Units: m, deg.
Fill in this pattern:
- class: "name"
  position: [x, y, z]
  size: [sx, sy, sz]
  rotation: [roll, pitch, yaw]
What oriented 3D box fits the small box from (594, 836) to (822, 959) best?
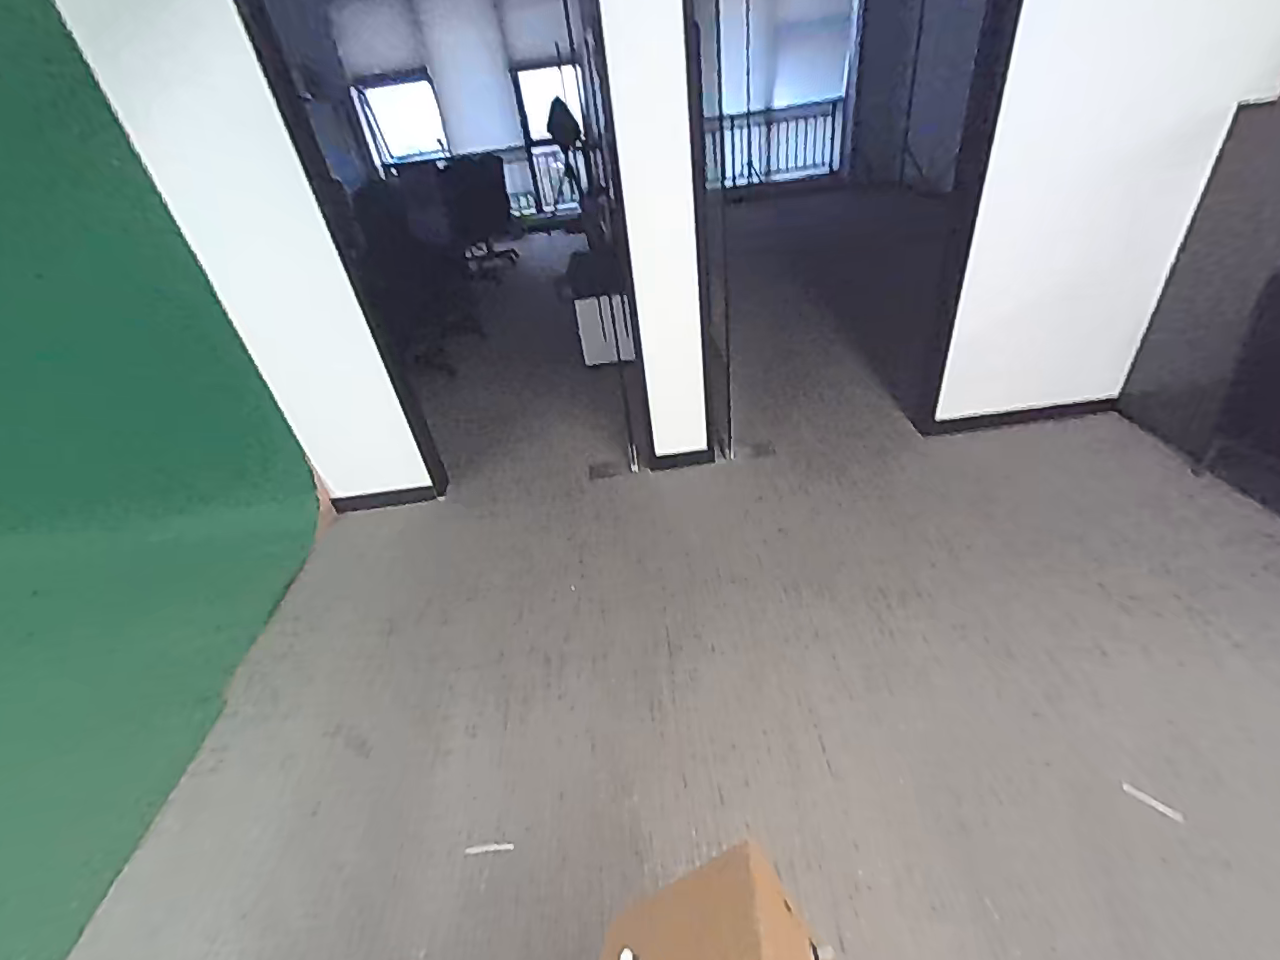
- class: "small box"
  position: [0.063, 0.462, 0.463]
  size: [0.179, 0.168, 0.176]
  rotation: [-34, -8, 4]
